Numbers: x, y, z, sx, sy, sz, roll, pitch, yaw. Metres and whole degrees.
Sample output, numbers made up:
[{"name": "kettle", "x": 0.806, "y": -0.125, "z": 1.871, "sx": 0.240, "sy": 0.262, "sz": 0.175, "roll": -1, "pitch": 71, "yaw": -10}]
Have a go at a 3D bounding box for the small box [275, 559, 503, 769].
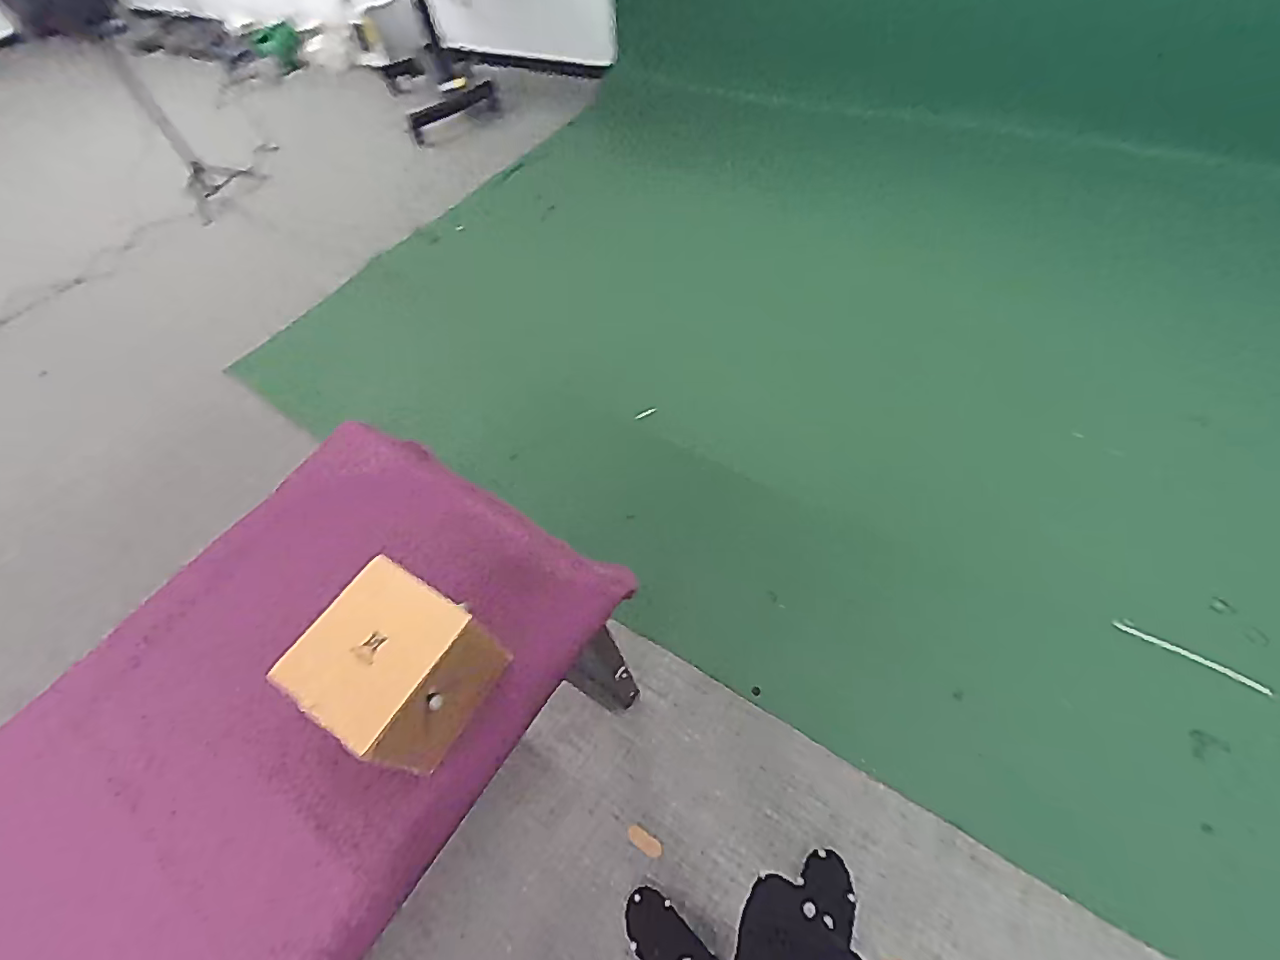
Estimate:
[{"name": "small box", "x": -0.298, "y": 0.238, "z": 0.691, "sx": 0.168, "sy": 0.176, "sz": 0.179, "roll": 25, "pitch": 64, "yaw": 21}]
